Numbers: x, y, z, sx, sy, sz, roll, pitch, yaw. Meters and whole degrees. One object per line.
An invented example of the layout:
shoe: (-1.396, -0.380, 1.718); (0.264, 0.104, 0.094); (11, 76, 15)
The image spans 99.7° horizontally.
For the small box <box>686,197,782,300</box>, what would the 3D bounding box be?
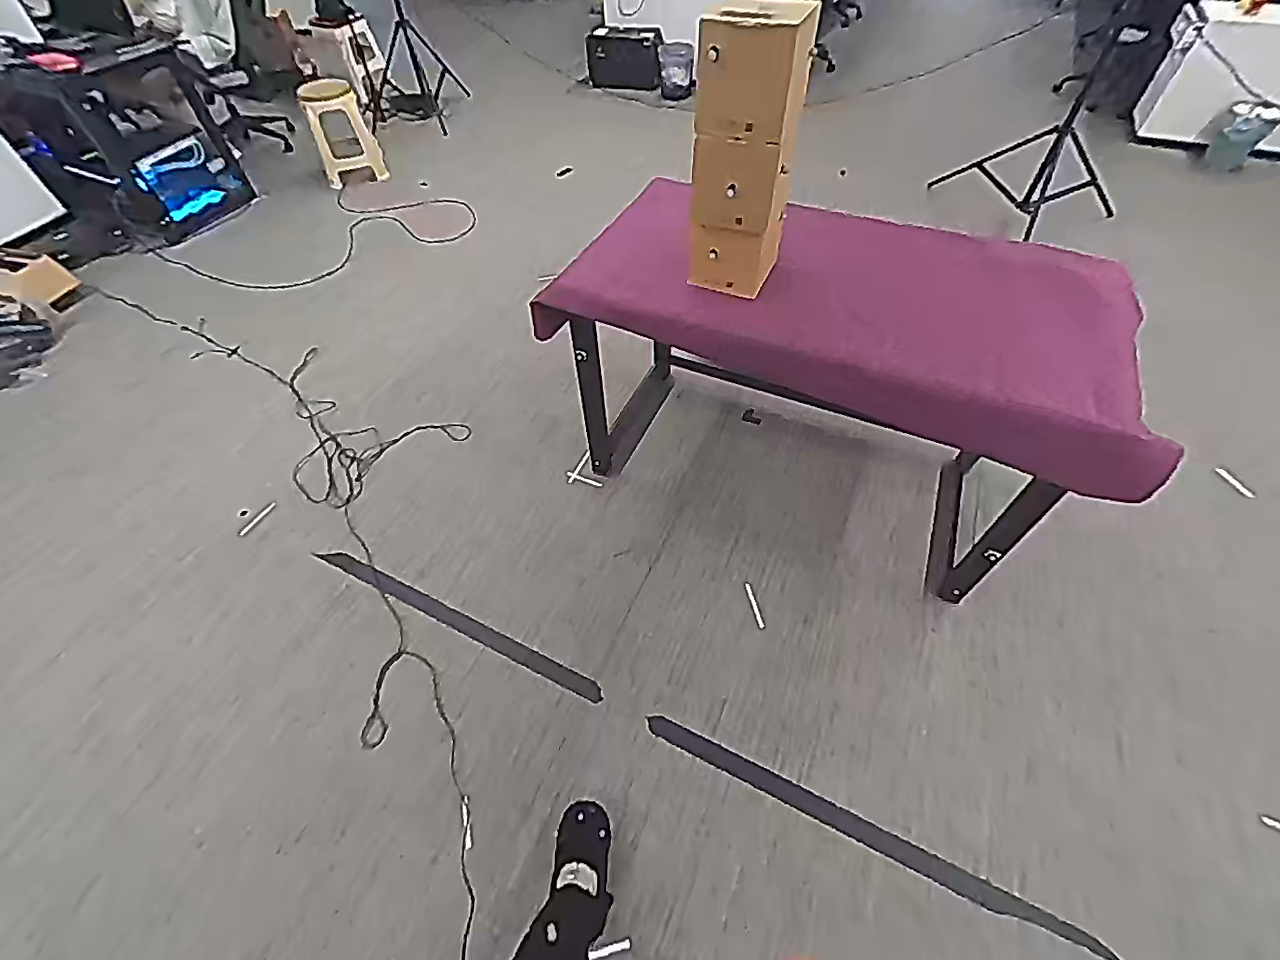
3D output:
small box: (0.212, -0.541, 1.241); (0.168, 0.176, 0.179); (19, 55, 16)

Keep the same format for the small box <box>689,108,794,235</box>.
small box: (0.202, -0.624, 1.098); (0.168, 0.176, 0.179); (15, 55, 13)
